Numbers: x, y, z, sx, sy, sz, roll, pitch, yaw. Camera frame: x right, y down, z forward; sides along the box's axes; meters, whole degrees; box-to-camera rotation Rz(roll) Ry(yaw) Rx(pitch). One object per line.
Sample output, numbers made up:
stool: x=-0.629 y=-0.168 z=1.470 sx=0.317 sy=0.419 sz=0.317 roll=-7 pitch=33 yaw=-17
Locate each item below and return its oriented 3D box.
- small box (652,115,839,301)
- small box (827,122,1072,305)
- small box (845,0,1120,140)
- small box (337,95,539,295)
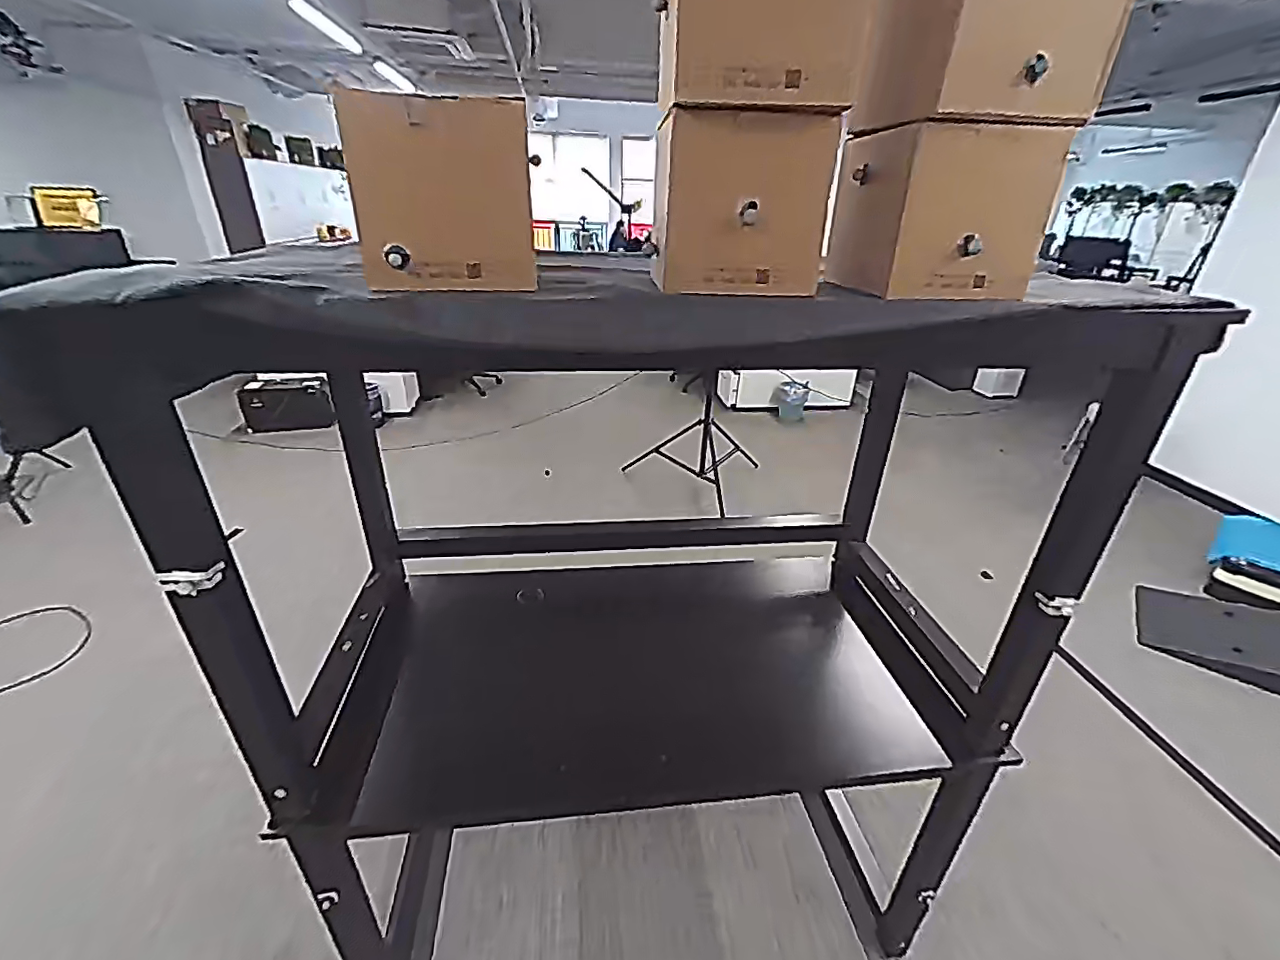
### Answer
small box: x=0.103 y=-0.301 z=0.615 sx=0.168 sy=0.176 sz=0.179 roll=0 pitch=26 yaw=-4
small box: x=0.339 y=-0.307 z=0.637 sx=0.168 sy=0.176 sz=0.179 roll=-2 pitch=26 yaw=-5
small box: x=0.345 y=-0.452 z=0.553 sx=0.179 sy=0.176 sz=0.168 roll=-3 pitch=26 yaw=-10
small box: x=-0.198 y=-0.296 z=0.586 sx=0.168 sy=0.176 sz=0.179 roll=-3 pitch=25 yaw=-10
